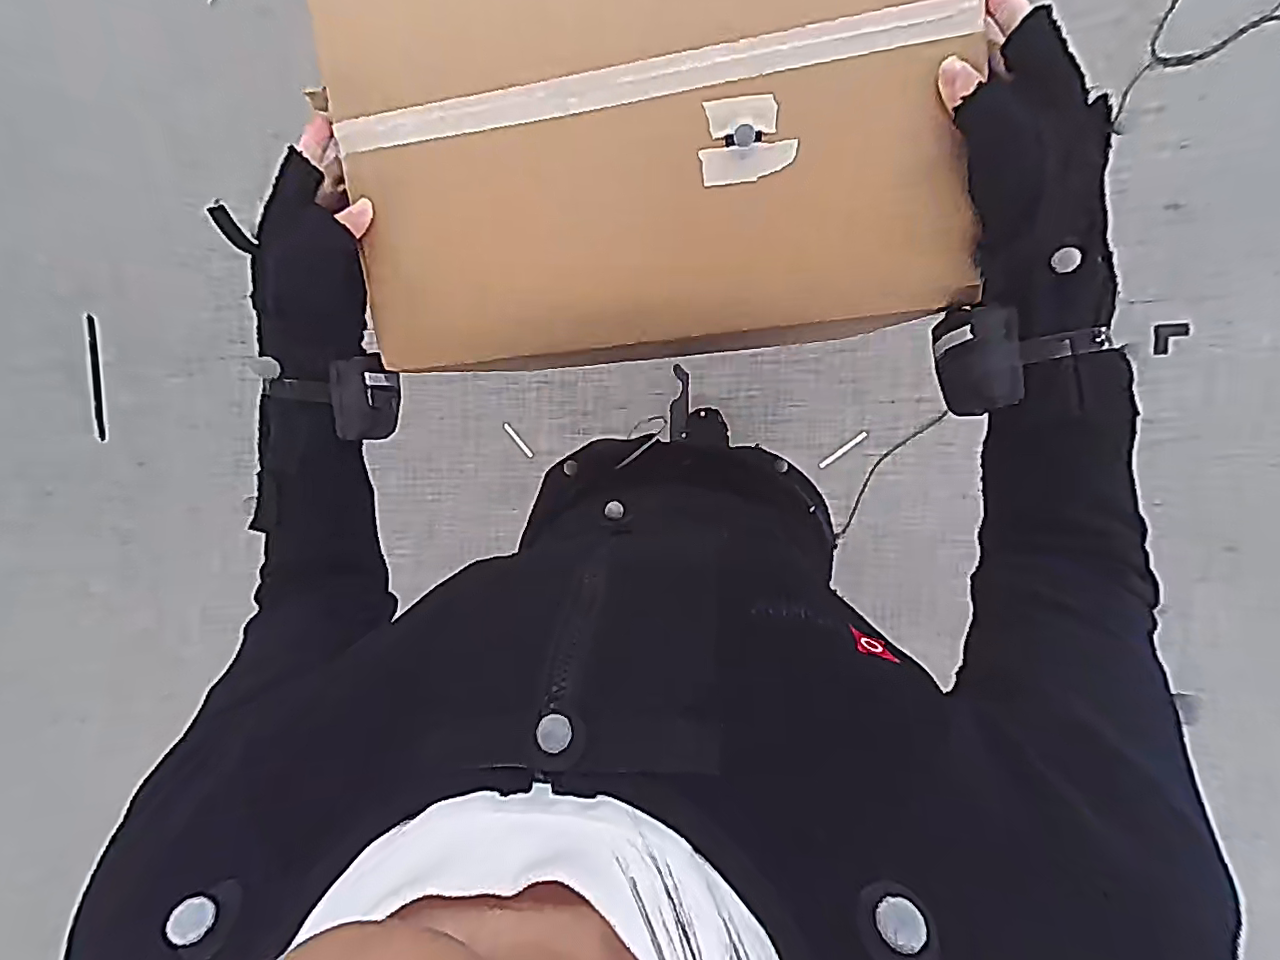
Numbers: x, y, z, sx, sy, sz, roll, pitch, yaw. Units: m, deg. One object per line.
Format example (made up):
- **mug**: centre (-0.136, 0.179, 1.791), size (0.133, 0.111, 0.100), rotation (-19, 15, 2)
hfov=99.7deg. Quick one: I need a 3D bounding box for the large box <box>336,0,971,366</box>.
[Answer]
- **large box**: centre (0.017, -0.285, 0.495), size (0.408, 0.320, 0.320), rotation (-5, 102, 8)
